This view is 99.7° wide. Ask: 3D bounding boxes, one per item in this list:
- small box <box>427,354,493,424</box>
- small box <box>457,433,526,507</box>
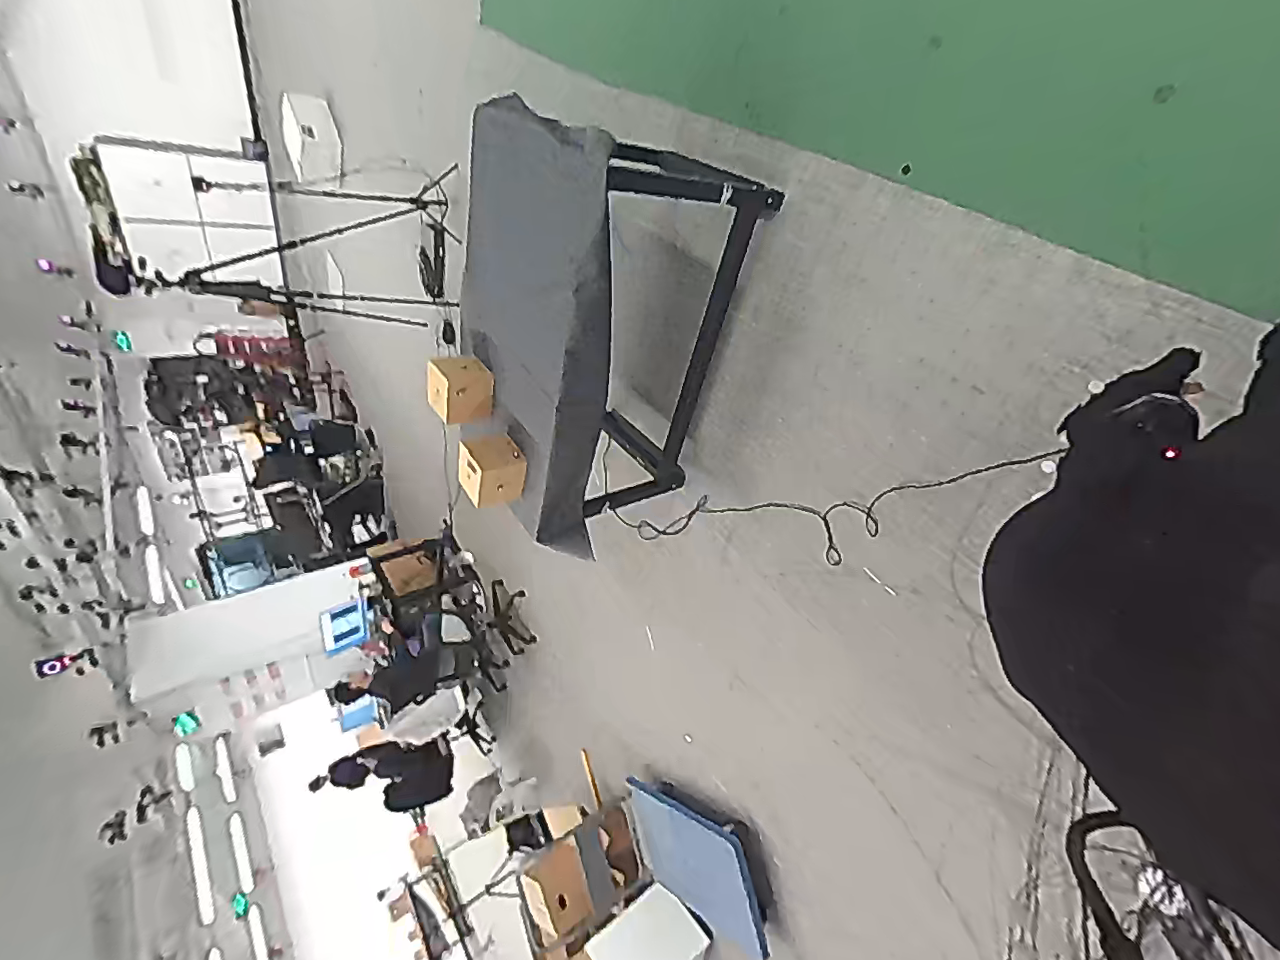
[{"bbox_3d":[-0.629,-0.325,1.893,0.168,0.176,0.179,44,134,32],"label":"small box"},{"bbox_3d":[-0.506,-0.040,1.847,0.168,0.176,0.179,47,136,31],"label":"small box"}]
